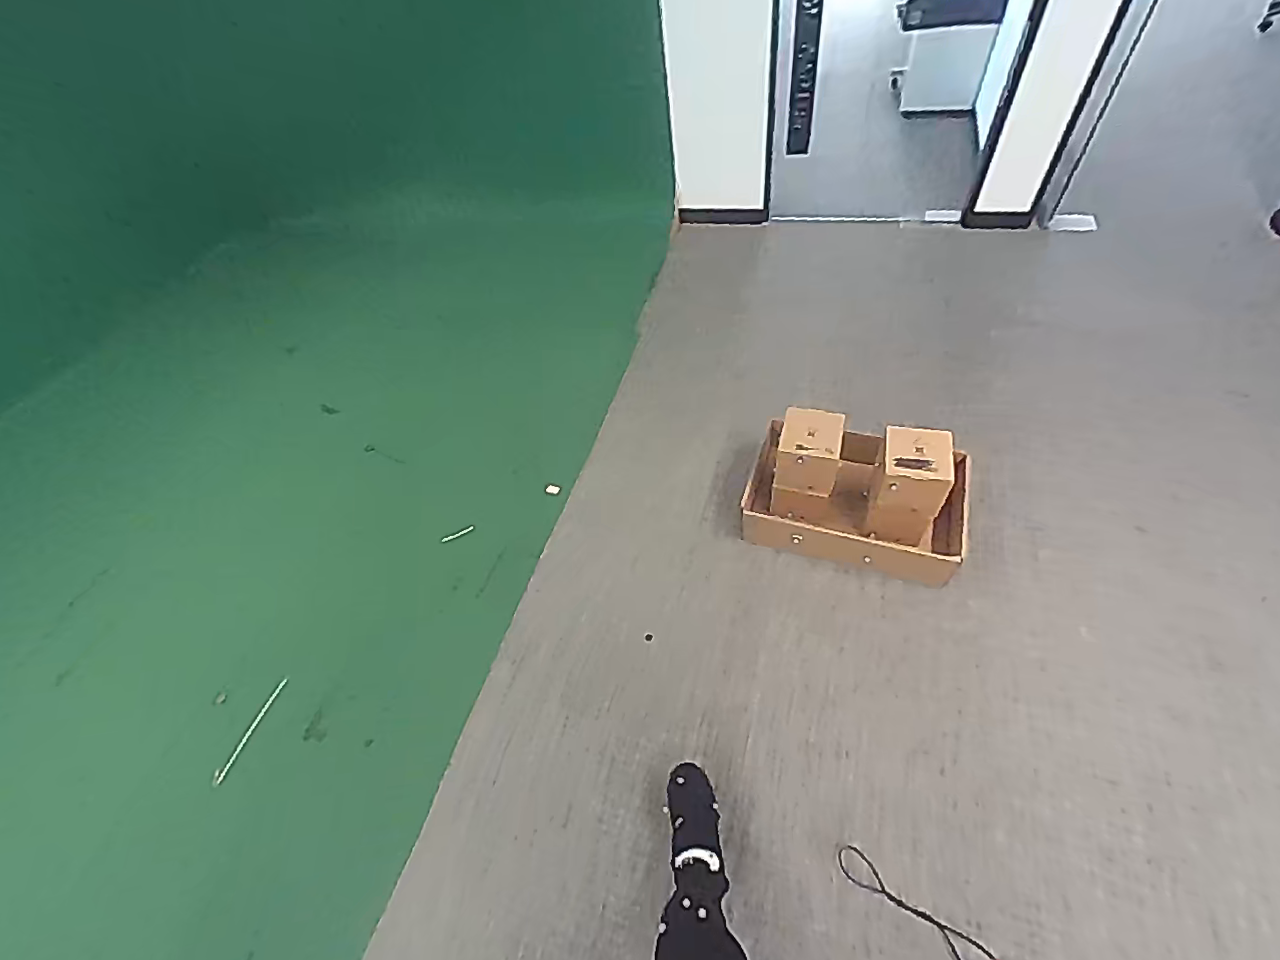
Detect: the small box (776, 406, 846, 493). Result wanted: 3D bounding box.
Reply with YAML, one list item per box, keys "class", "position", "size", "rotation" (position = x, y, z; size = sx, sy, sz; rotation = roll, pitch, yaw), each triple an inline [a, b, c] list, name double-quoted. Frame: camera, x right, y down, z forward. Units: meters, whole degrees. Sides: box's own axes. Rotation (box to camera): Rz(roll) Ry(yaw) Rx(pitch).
- class: "small box"
  position: [0.498, -0.090, 1.587]
  size: [0.168, 0.176, 0.179]
  rotation: [10, 55, 18]
